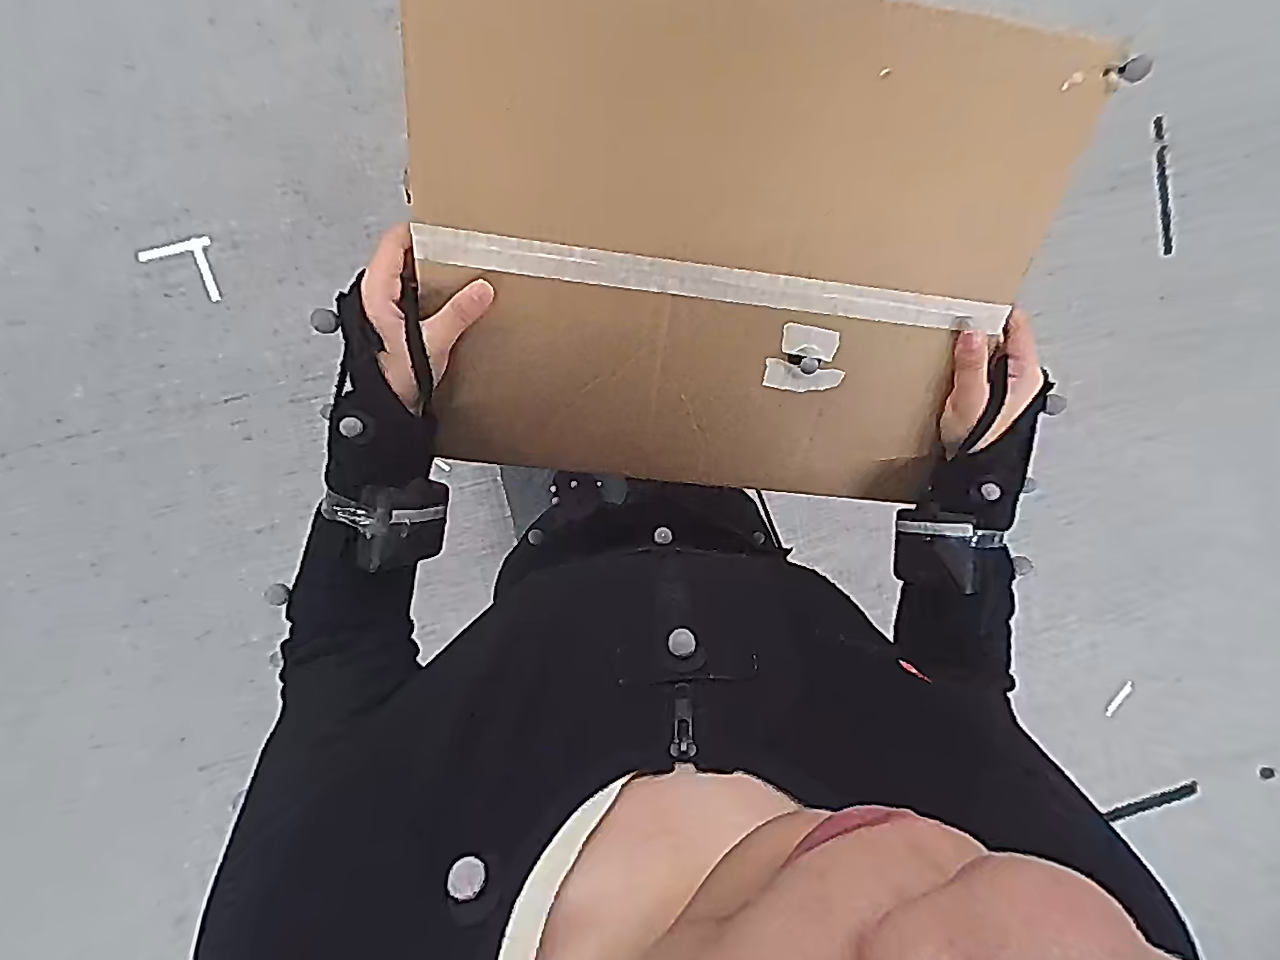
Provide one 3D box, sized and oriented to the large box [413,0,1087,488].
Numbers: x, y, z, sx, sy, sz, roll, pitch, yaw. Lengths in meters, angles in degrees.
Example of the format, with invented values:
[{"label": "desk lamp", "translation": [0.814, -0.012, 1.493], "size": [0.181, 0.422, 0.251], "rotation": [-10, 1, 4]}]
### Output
[{"label": "large box", "translation": [0.046, -0.210, 0.504], "size": [0.408, 0.320, 0.320], "rotation": [4, 121, -8]}]
